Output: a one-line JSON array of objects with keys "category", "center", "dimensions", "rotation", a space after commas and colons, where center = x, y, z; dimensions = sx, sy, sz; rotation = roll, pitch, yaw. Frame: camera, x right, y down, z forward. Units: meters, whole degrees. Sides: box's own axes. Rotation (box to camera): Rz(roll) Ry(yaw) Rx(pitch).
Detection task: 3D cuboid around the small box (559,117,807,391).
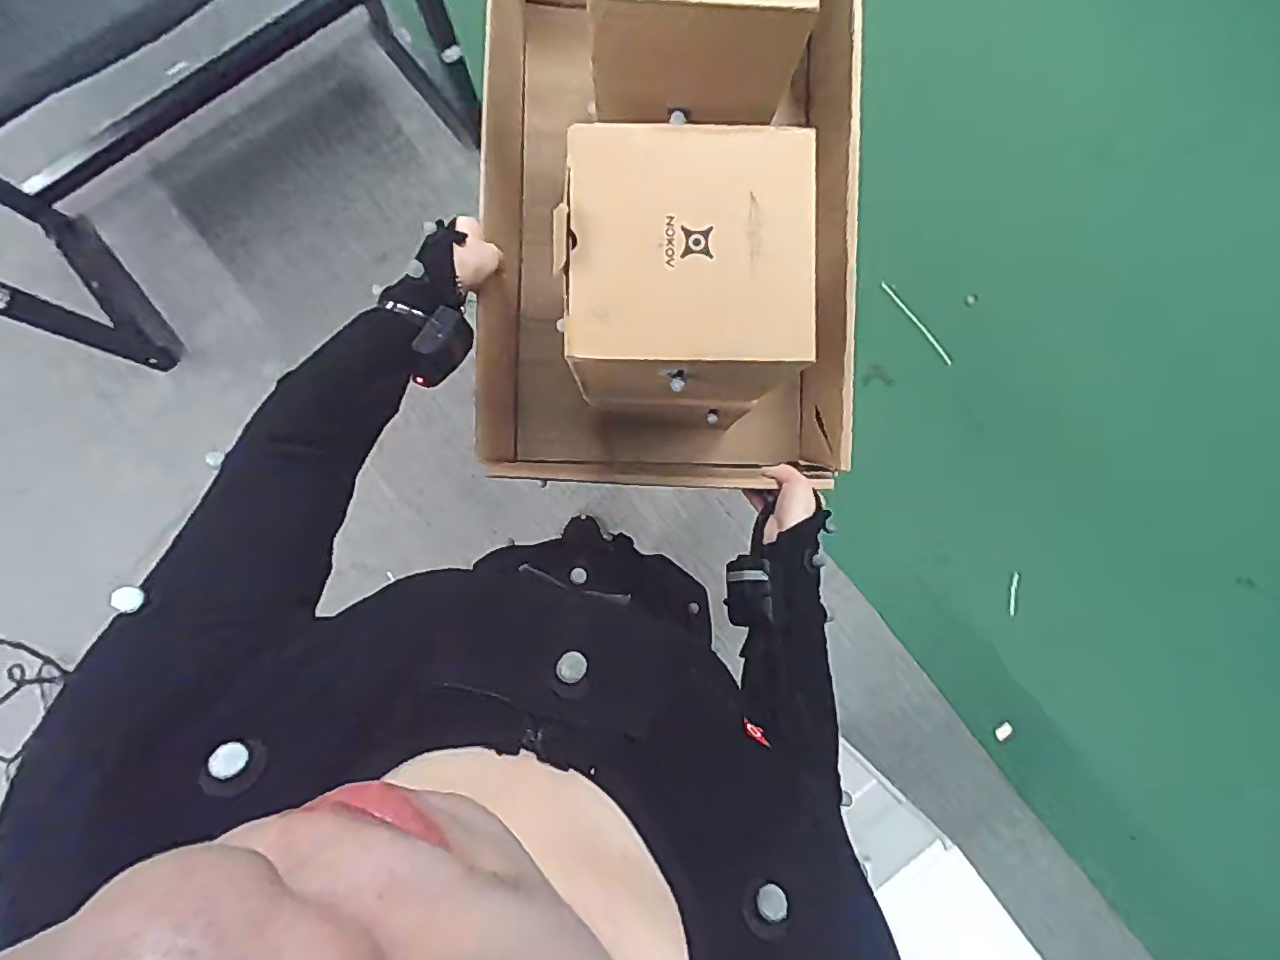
[{"category": "small box", "center": [0.029, -0.170, 0.458], "dimensions": [0.179, 0.176, 0.168], "rotation": [0, 90, -2]}]
